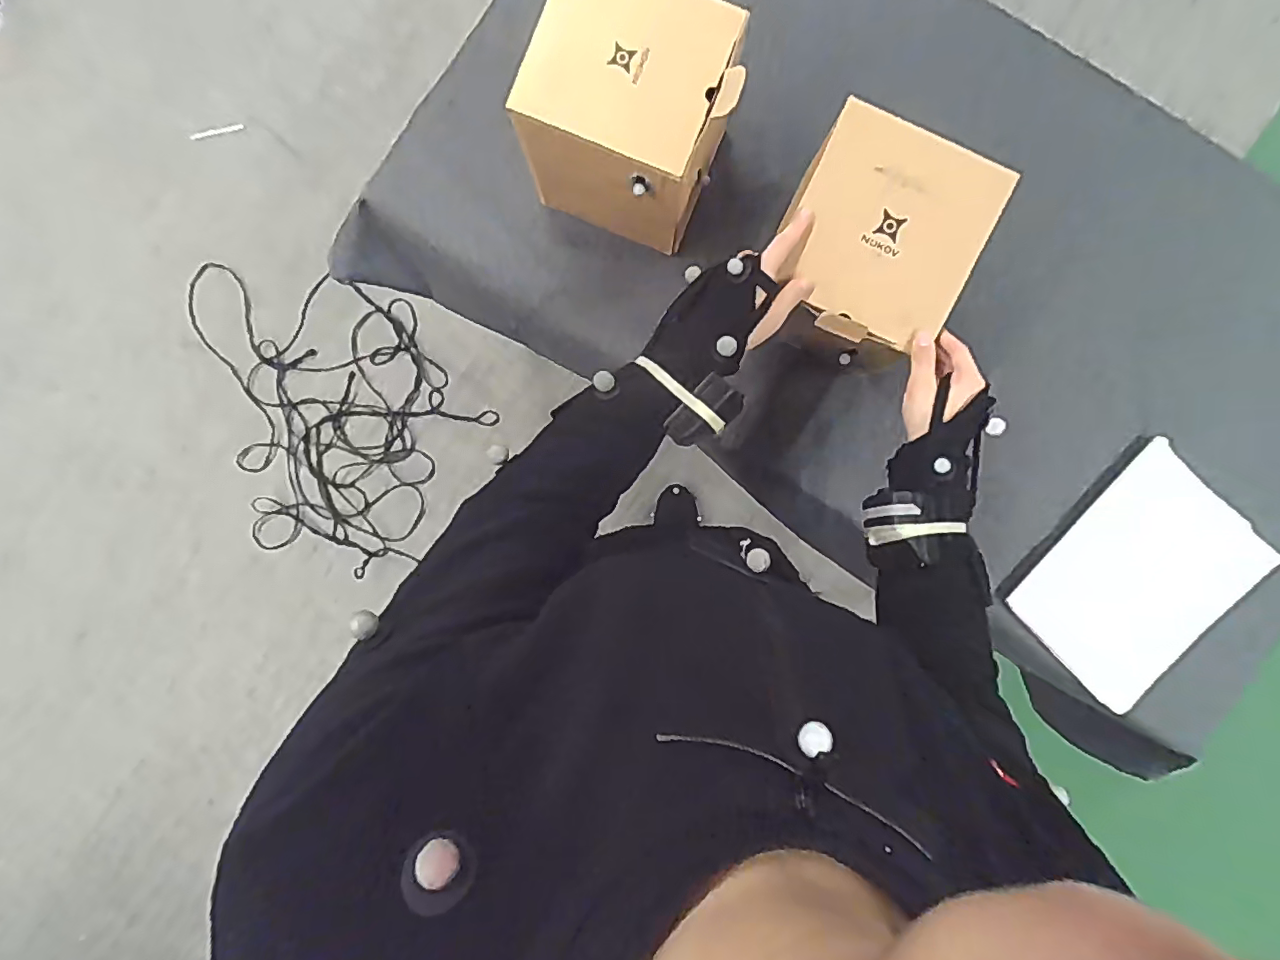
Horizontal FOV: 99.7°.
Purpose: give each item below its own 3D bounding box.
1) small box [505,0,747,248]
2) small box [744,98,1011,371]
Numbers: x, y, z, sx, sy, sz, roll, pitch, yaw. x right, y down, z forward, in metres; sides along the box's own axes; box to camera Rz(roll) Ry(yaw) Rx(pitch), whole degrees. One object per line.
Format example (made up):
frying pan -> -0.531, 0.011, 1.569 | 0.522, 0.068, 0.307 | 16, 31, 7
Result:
small box -> -0.013, -0.374, 0.565 | 0.179, 0.176, 0.168 | 21, 89, -1
small box -> 0.219, -0.228, 0.556 | 0.168, 0.176, 0.179 | 24, 94, -1
